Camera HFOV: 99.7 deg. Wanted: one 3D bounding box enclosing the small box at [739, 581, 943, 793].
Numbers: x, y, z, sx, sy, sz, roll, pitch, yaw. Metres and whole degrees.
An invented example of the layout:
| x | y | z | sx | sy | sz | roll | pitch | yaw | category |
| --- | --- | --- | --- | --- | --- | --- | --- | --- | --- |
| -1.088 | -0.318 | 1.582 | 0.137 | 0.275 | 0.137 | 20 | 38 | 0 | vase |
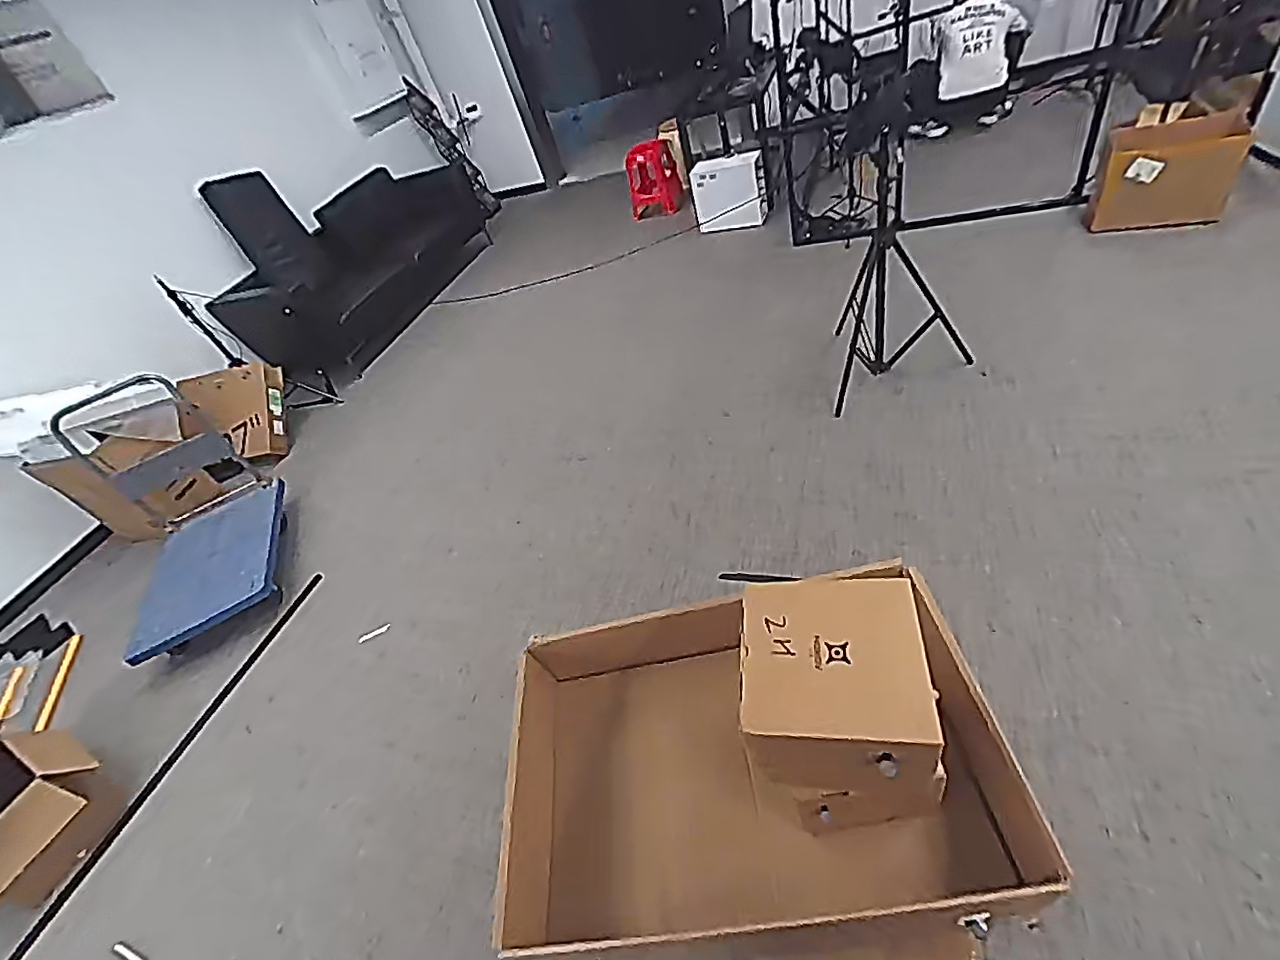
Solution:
| x | y | z | sx | sy | sz | roll | pitch | yaw | category |
| --- | --- | --- | --- | --- | --- | --- | --- | --- | --- |
| 0.212 | 0.226 | 0.591 | 0.179 | 0.176 | 0.168 | -6 | 45 | 19 | small box |
